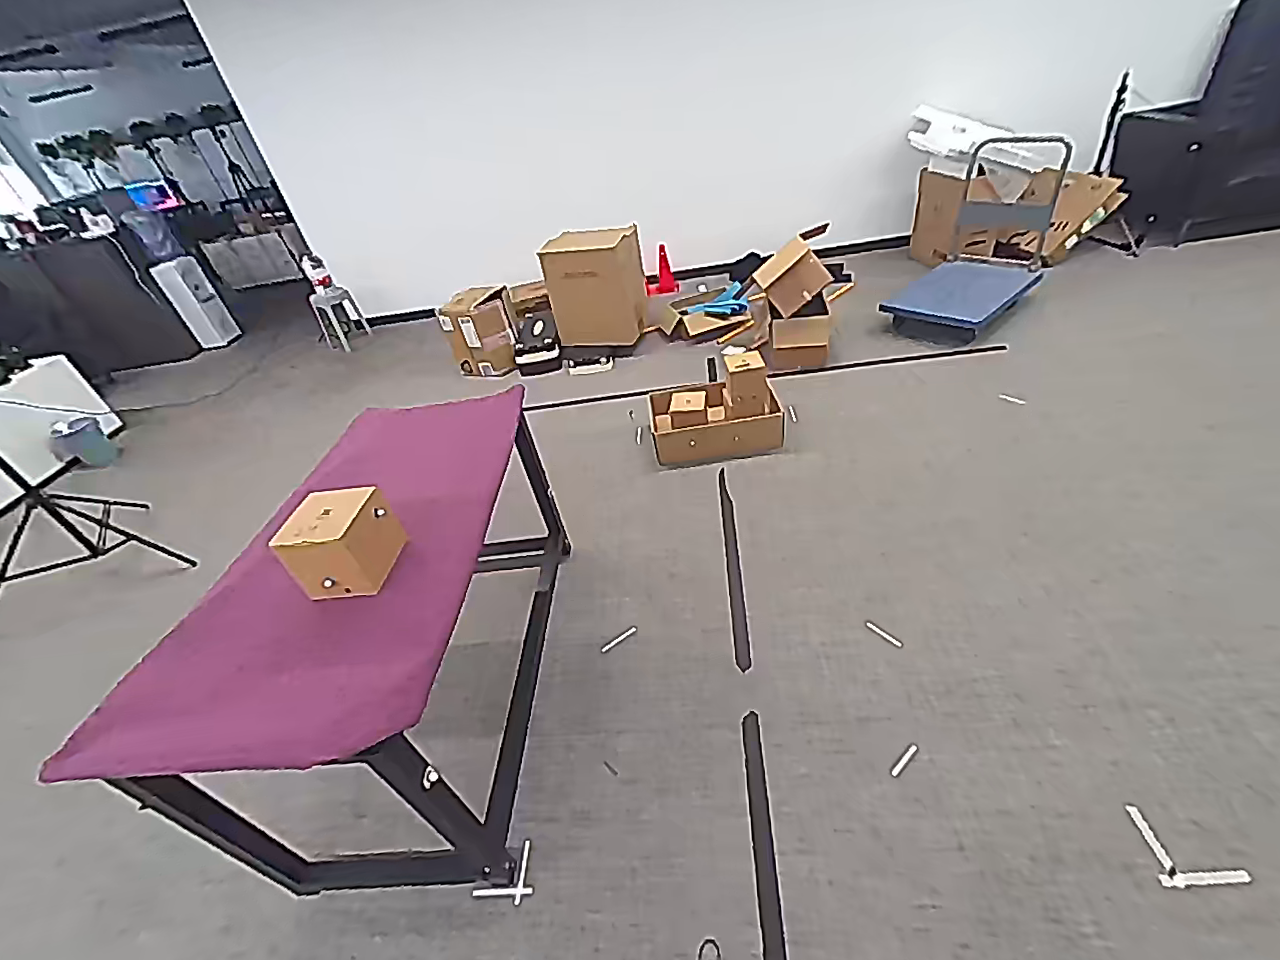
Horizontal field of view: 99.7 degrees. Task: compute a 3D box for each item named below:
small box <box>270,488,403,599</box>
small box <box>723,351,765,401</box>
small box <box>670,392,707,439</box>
[{"bbox_3d":[-0.657,0.141,1.202,0.168,0.176,0.179,-6,37,8],"label":"small box"},{"bbox_3d":[0.491,-0.484,2.547,0.168,0.176,0.179,-9,36,4],"label":"small box"},{"bbox_3d":[0.242,-0.316,2.673,0.168,0.176,0.179,-2,38,11],"label":"small box"}]
